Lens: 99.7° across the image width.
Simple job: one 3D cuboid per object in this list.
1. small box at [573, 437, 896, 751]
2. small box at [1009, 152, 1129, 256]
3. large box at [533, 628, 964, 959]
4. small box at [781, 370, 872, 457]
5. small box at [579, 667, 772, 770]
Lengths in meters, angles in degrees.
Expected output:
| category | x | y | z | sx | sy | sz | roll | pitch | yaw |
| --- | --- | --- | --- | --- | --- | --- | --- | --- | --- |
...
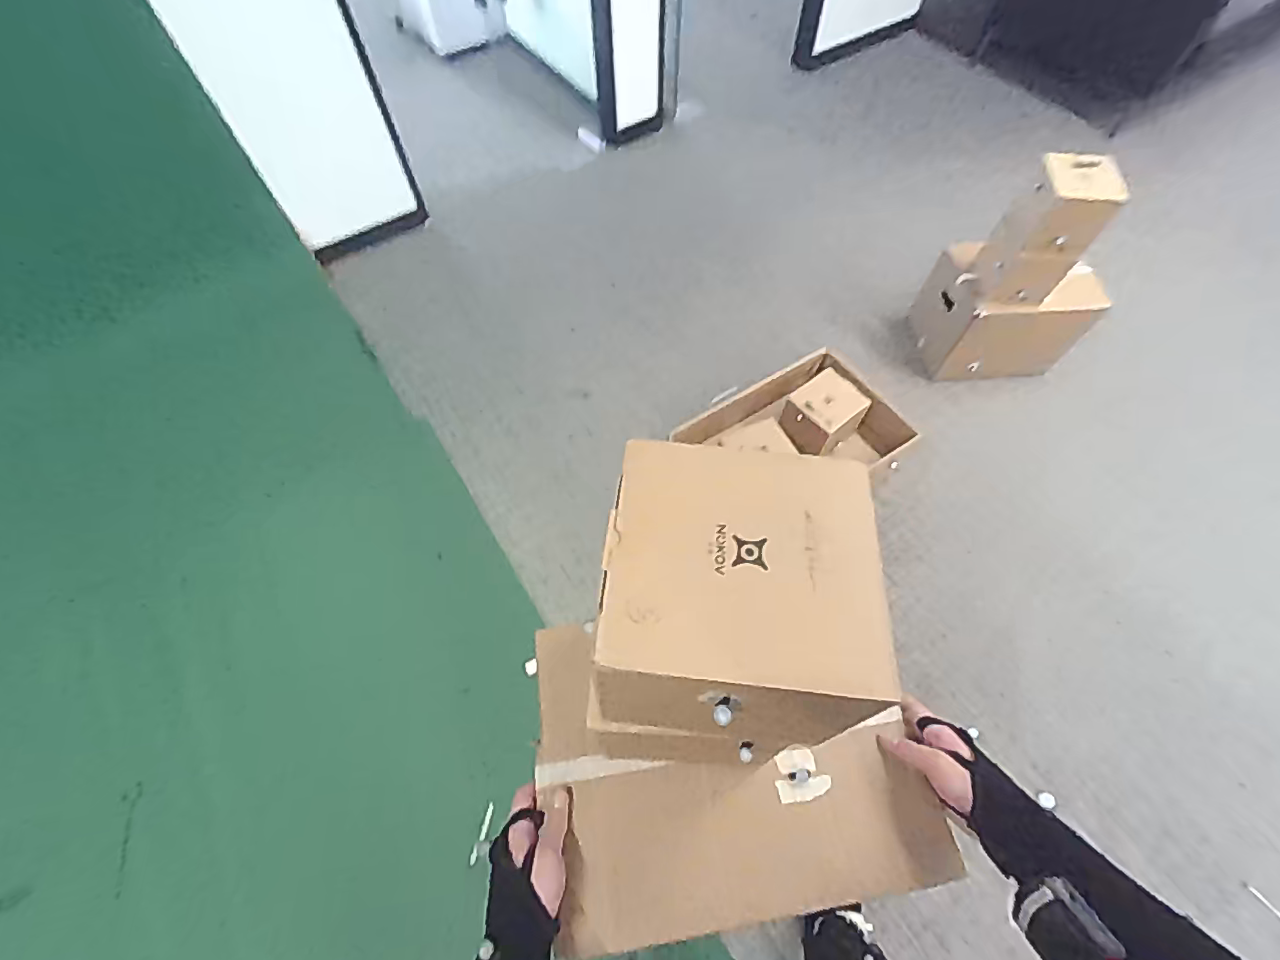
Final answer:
| category | x | y | z | sx | sy | sz | roll | pitch | yaw |
| --- | --- | --- | --- | --- | --- | --- | --- | --- | --- |
| small box | 0.059 | 0.090 | 0.397 | 0.179 | 0.176 | 0.168 | 7 | 56 | 4 |
| small box | 1.099 | -0.713 | 1.404 | 0.168 | 0.176 | 0.179 | 6 | 63 | 4 |
| large box | 0.091 | 0.366 | 0.701 | 0.408 | 0.320 | 0.320 | -7 | 58 | -6 |
| small box | 0.543 | -0.185 | 1.605 | 0.179 | 0.176 | 0.168 | -34 | 65 | -17 |
| small box | 0.042 | 0.181 | 0.532 | 0.179 | 0.176 | 0.168 | 2 | 55 | 1 |
